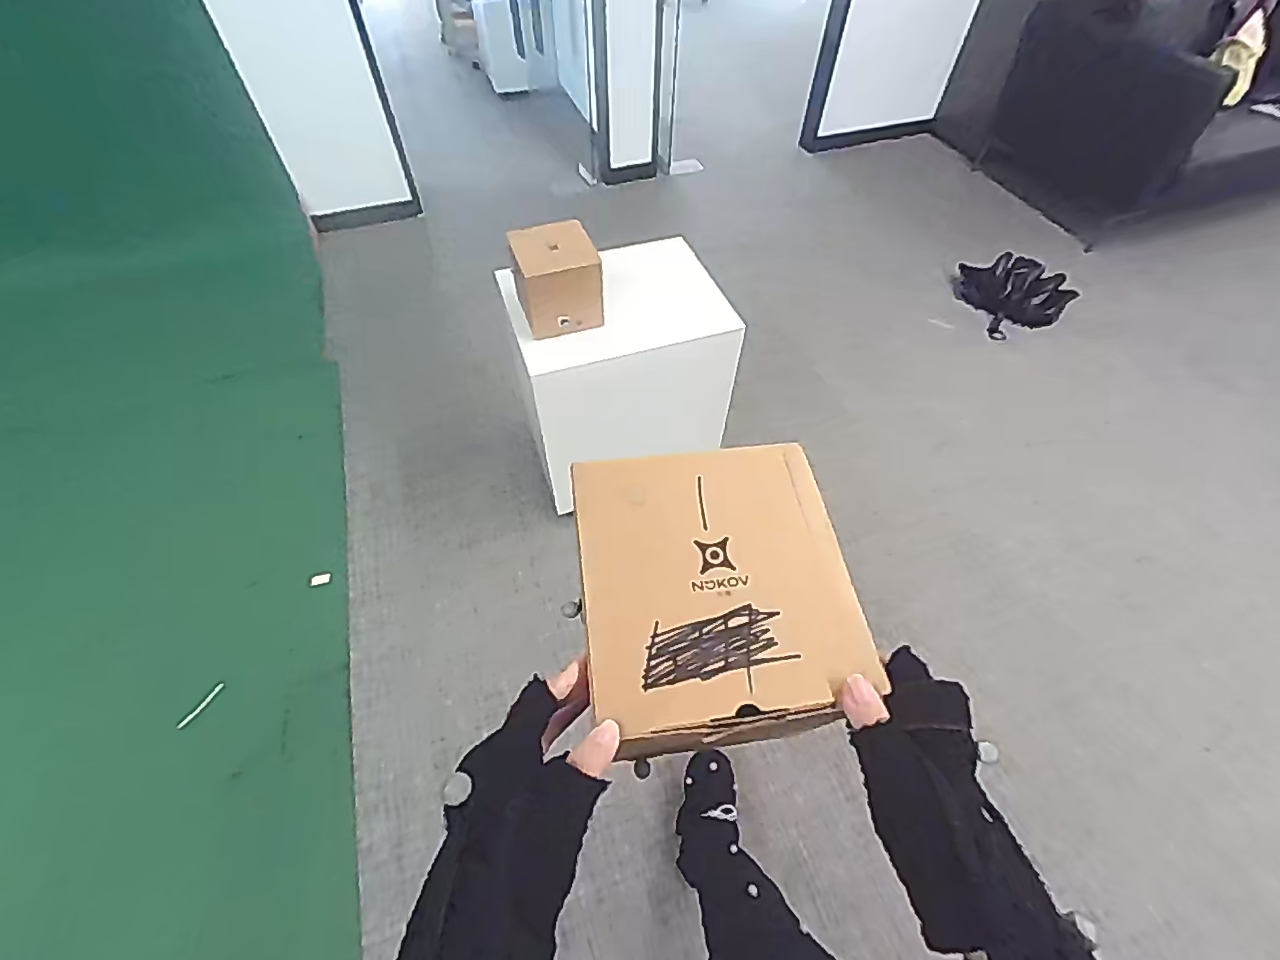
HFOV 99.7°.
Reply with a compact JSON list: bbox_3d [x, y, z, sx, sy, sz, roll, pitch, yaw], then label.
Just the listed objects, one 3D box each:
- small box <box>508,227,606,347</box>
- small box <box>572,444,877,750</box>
[{"bbox_3d":[-0.183,-0.427,1.205,0.168,0.176,0.179,-19,58,-12],"label":"small box"},{"bbox_3d":[0.042,0.096,0.408,0.168,0.176,0.179,-6,59,-6],"label":"small box"}]
